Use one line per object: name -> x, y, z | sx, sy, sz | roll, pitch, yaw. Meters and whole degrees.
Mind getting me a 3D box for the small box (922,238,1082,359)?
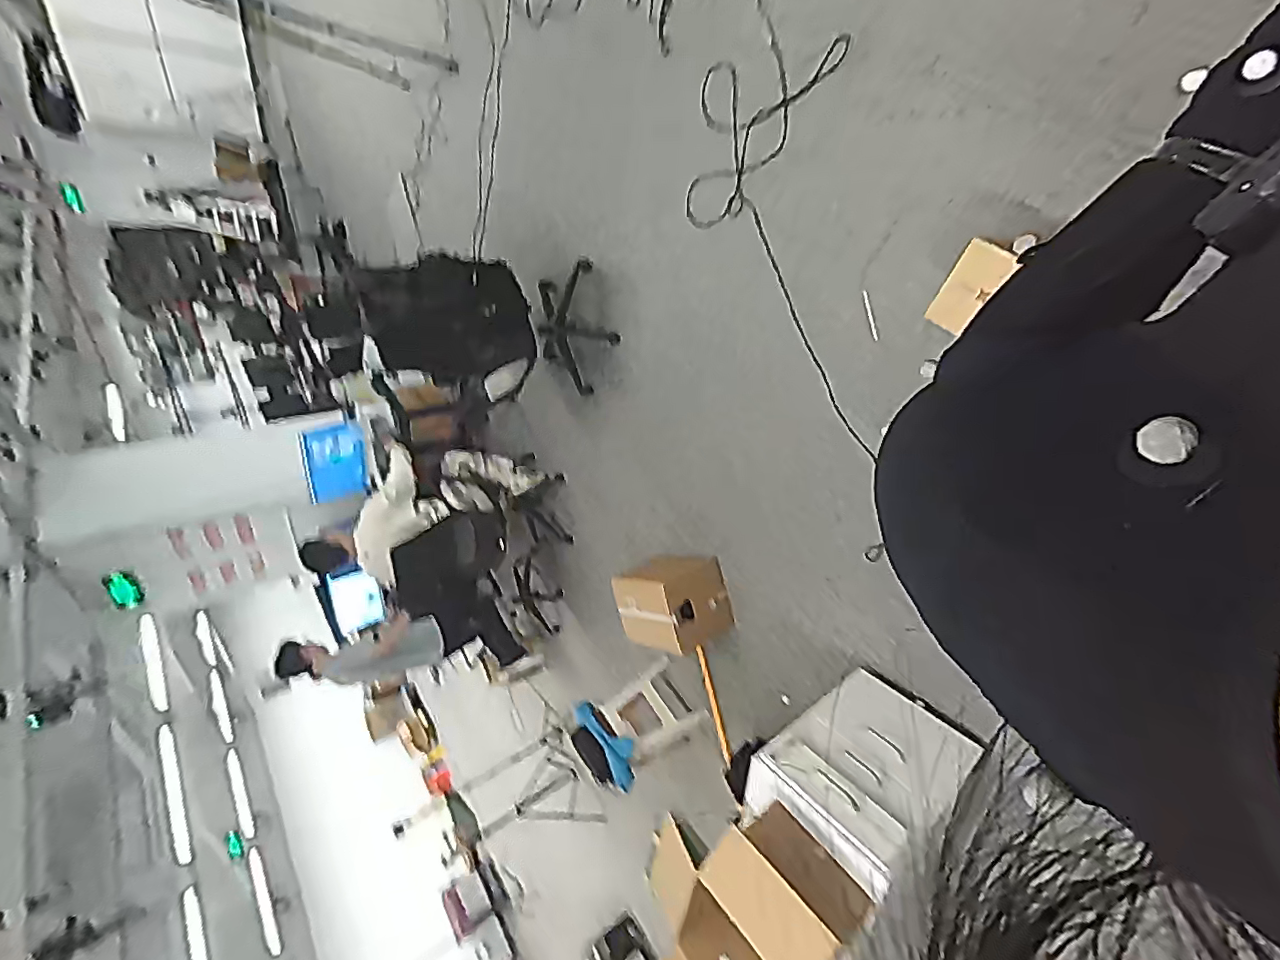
small box -> 0.714, -0.363, 1.067 | 0.179, 0.176, 0.168 | 49, 139, 31
